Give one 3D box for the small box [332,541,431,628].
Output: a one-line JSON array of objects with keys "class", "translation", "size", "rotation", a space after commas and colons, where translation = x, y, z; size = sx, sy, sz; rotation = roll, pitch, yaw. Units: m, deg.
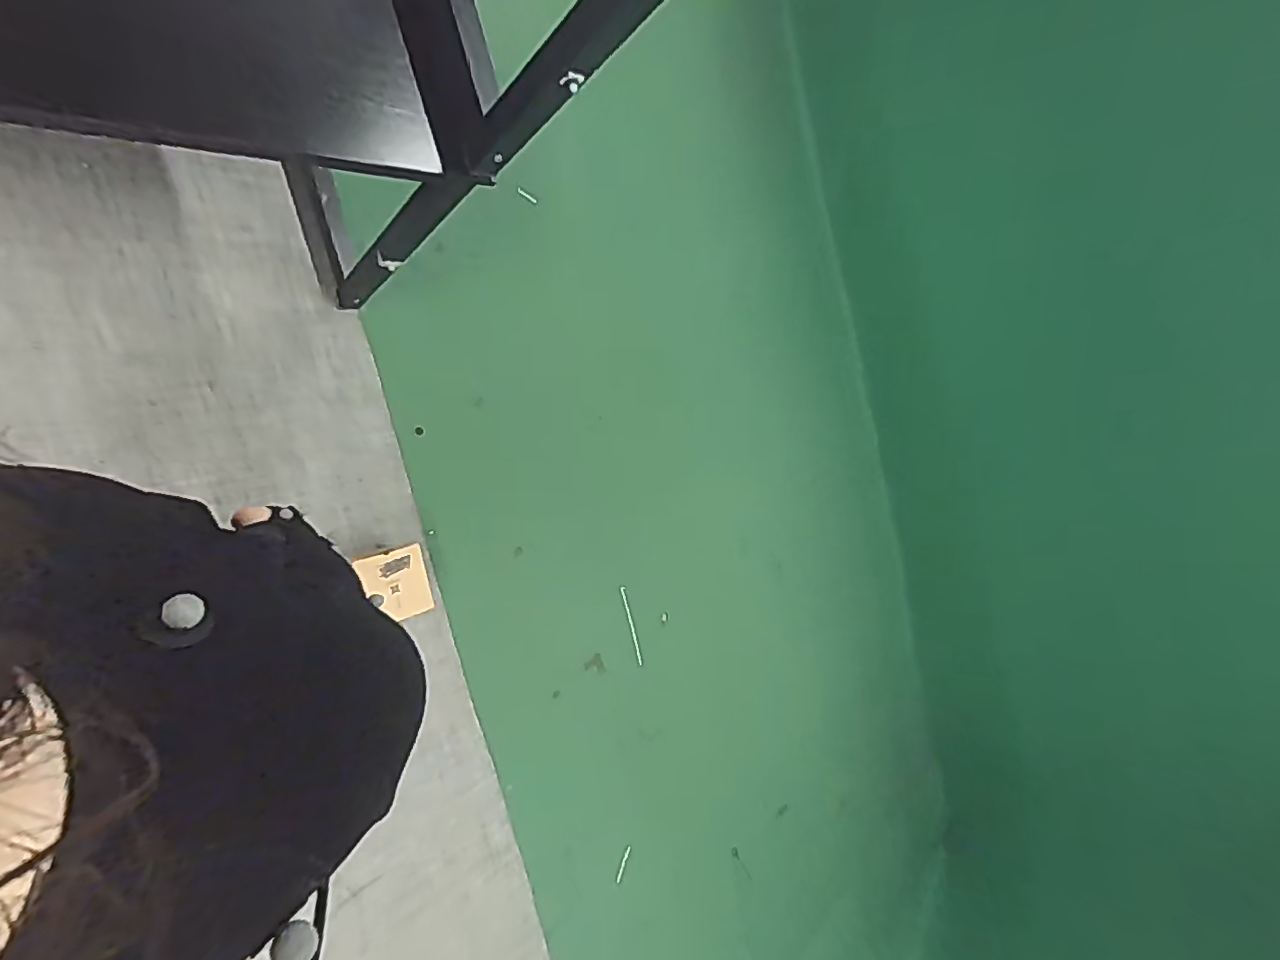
[{"class": "small box", "translation": [-0.662, 0.259, 1.376], "size": [0.168, 0.176, 0.179], "rotation": [-15, 96, -43]}]
